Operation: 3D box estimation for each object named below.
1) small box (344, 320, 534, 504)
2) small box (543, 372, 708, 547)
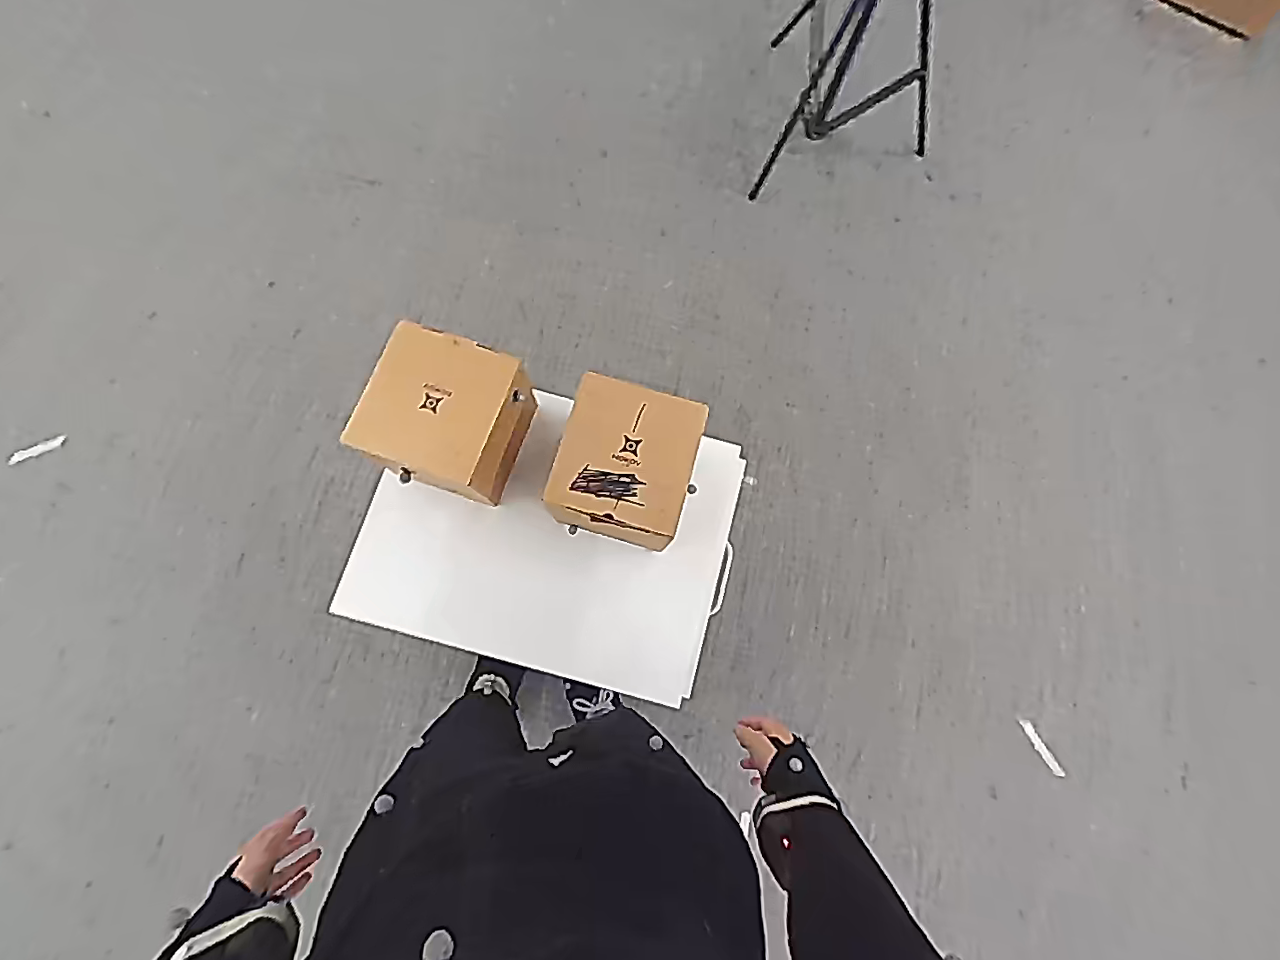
[{"bbox_3d":[-0.255,-0.080,0.738,0.168,0.176,0.179,19,77,1],"label":"small box"},{"bbox_3d":[-0.018,-0.015,0.736,0.168,0.176,0.179,16,76,1],"label":"small box"}]
